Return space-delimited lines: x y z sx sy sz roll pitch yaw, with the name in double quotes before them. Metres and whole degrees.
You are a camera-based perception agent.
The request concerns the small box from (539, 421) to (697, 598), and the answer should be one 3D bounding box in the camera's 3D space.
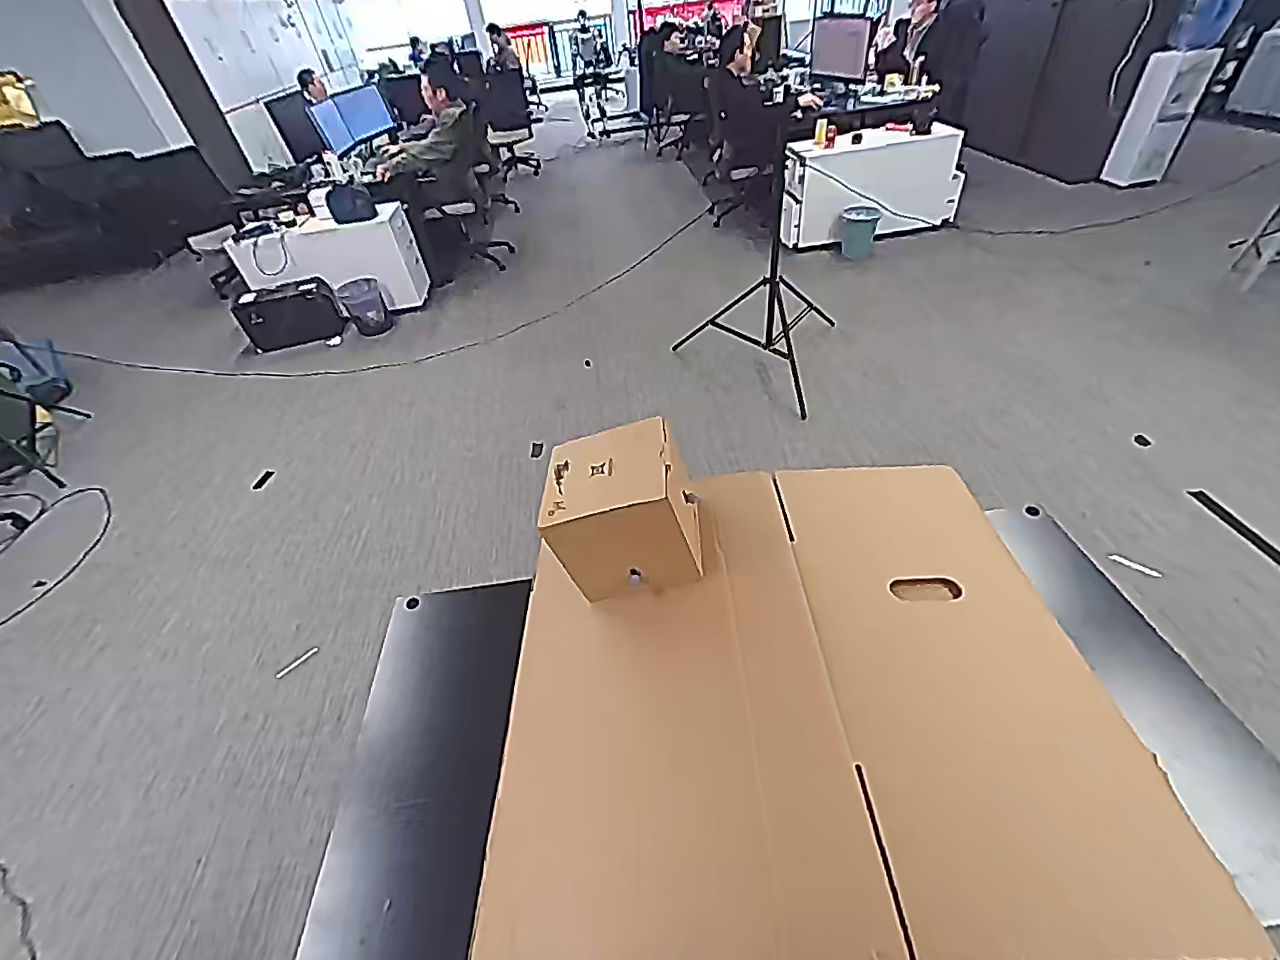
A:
"small box" -0.020 0.047 0.775 0.179 0.176 0.168 -14 40 13
